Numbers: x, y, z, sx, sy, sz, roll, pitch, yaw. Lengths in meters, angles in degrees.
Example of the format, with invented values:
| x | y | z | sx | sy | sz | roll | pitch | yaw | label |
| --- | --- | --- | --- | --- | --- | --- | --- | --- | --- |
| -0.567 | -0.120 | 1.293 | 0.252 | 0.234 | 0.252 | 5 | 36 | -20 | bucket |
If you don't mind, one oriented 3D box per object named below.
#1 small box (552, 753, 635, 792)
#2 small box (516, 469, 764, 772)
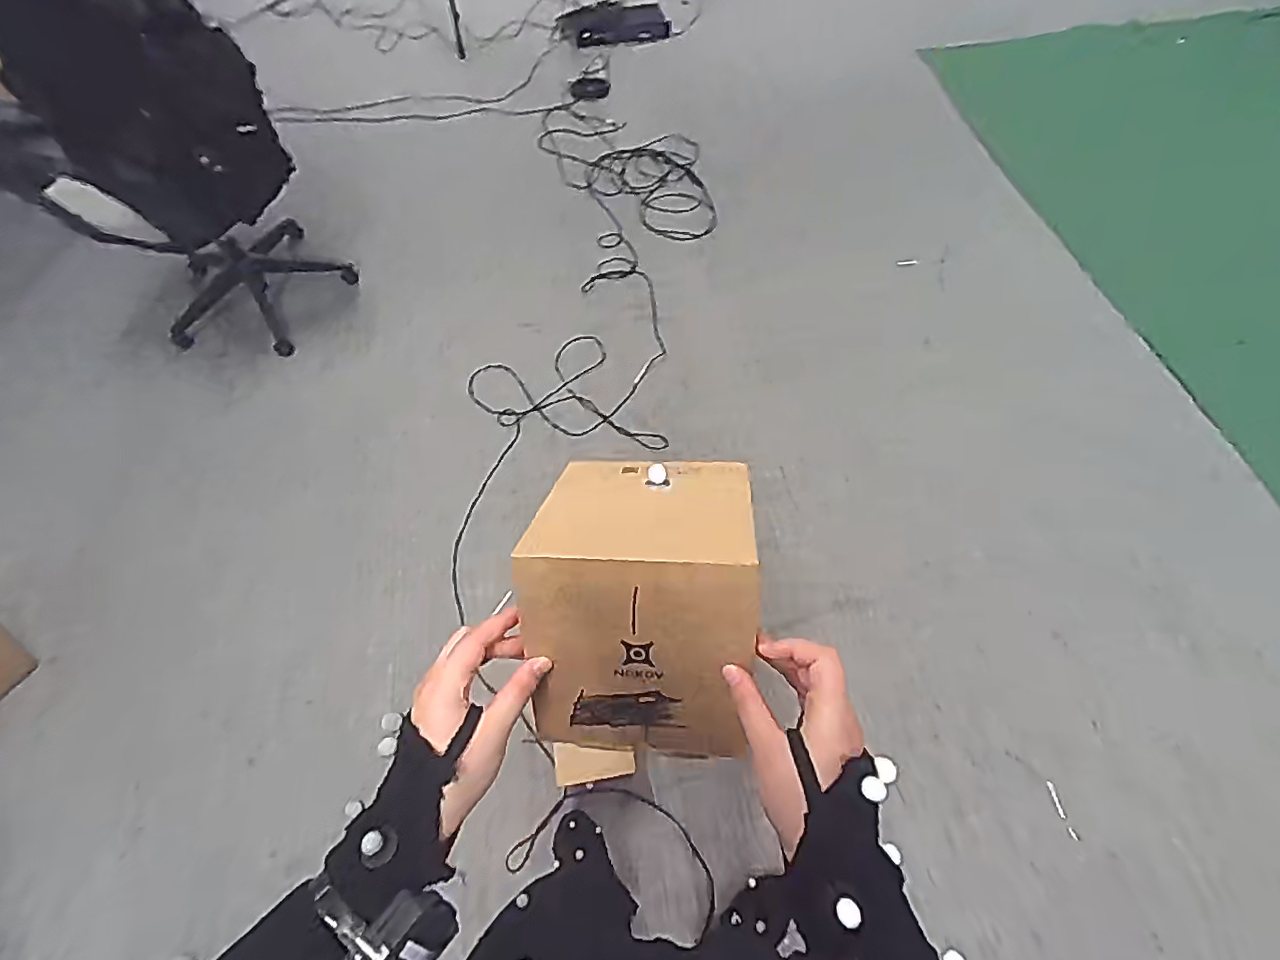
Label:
| x | y | z | sx | sy | sz | roll | pitch | yaw | label |
| --- | --- | --- | --- | --- | --- | --- | --- | --- | --- |
| -0.105 | 0.585 | 1.214 | 0.168 | 0.176 | 0.179 | -9 | 62 | -4 | small box |
| 0.011 | 0.103 | 0.451 | 0.168 | 0.179 | 0.176 | 1 | 21 | 8 | small box |
